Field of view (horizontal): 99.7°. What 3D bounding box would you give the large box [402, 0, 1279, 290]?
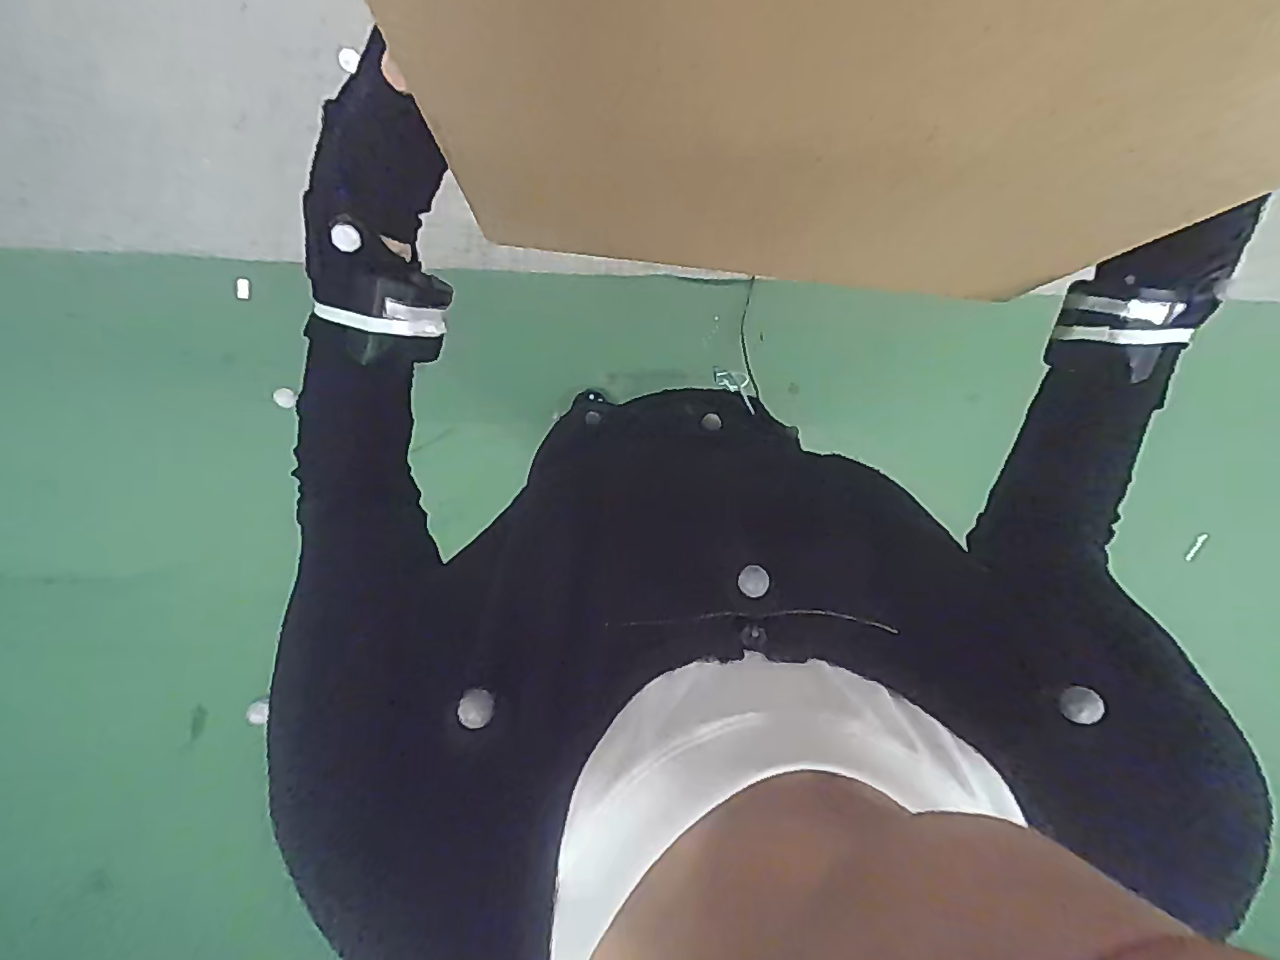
[{"bbox_3d":[0.112,-0.311,0.261,0.408,0.320,0.320,5,91,-6],"label":"large box"}]
